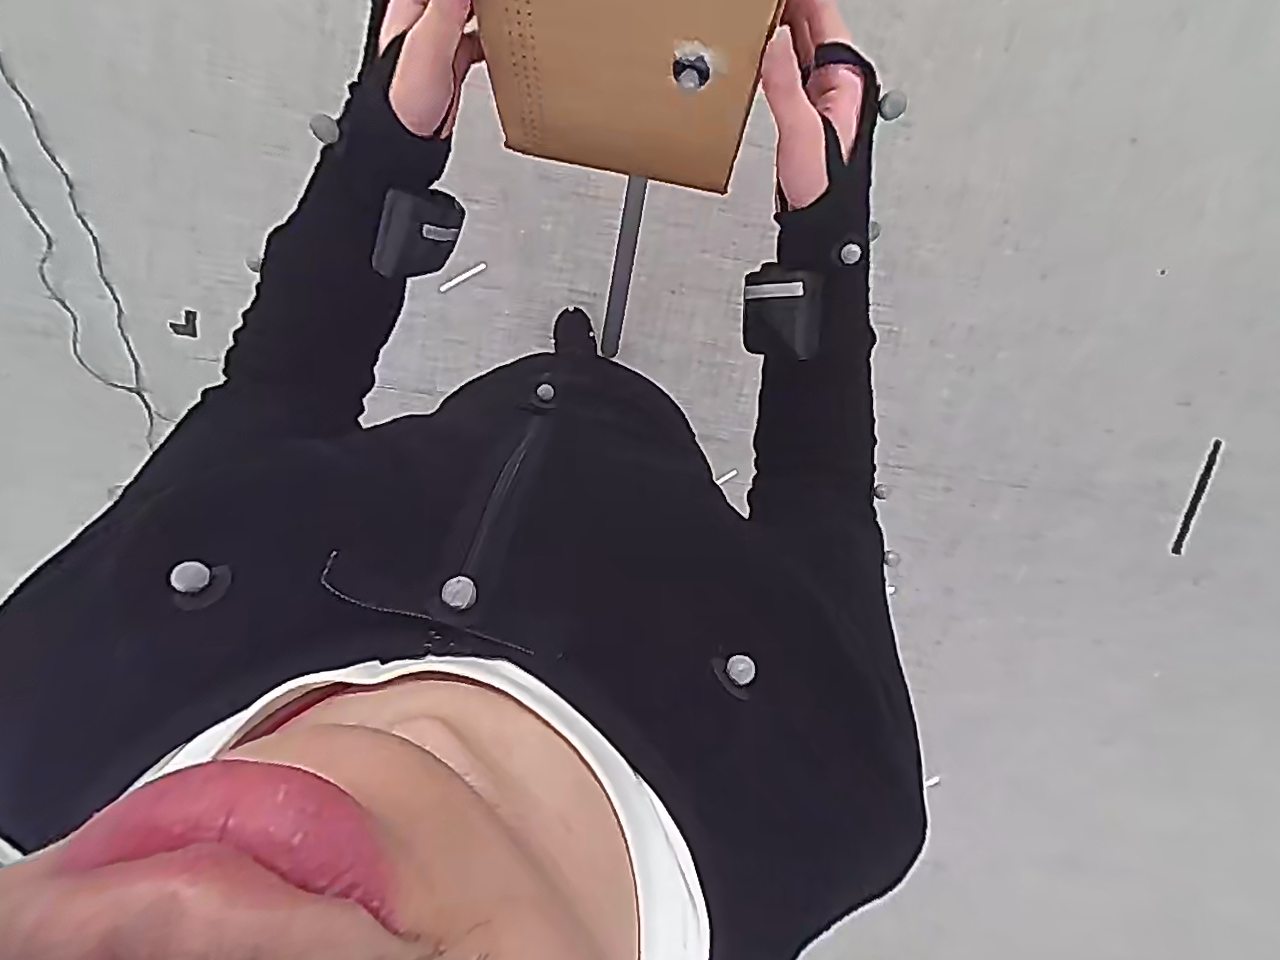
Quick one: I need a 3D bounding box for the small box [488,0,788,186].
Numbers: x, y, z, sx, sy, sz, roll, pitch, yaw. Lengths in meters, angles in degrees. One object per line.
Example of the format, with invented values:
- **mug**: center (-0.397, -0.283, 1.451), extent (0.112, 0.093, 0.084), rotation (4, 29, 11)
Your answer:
- **small box**: center (0.001, -0.326, 0.337), extent (0.176, 0.179, 0.168), rotation (10, 76, -3)
